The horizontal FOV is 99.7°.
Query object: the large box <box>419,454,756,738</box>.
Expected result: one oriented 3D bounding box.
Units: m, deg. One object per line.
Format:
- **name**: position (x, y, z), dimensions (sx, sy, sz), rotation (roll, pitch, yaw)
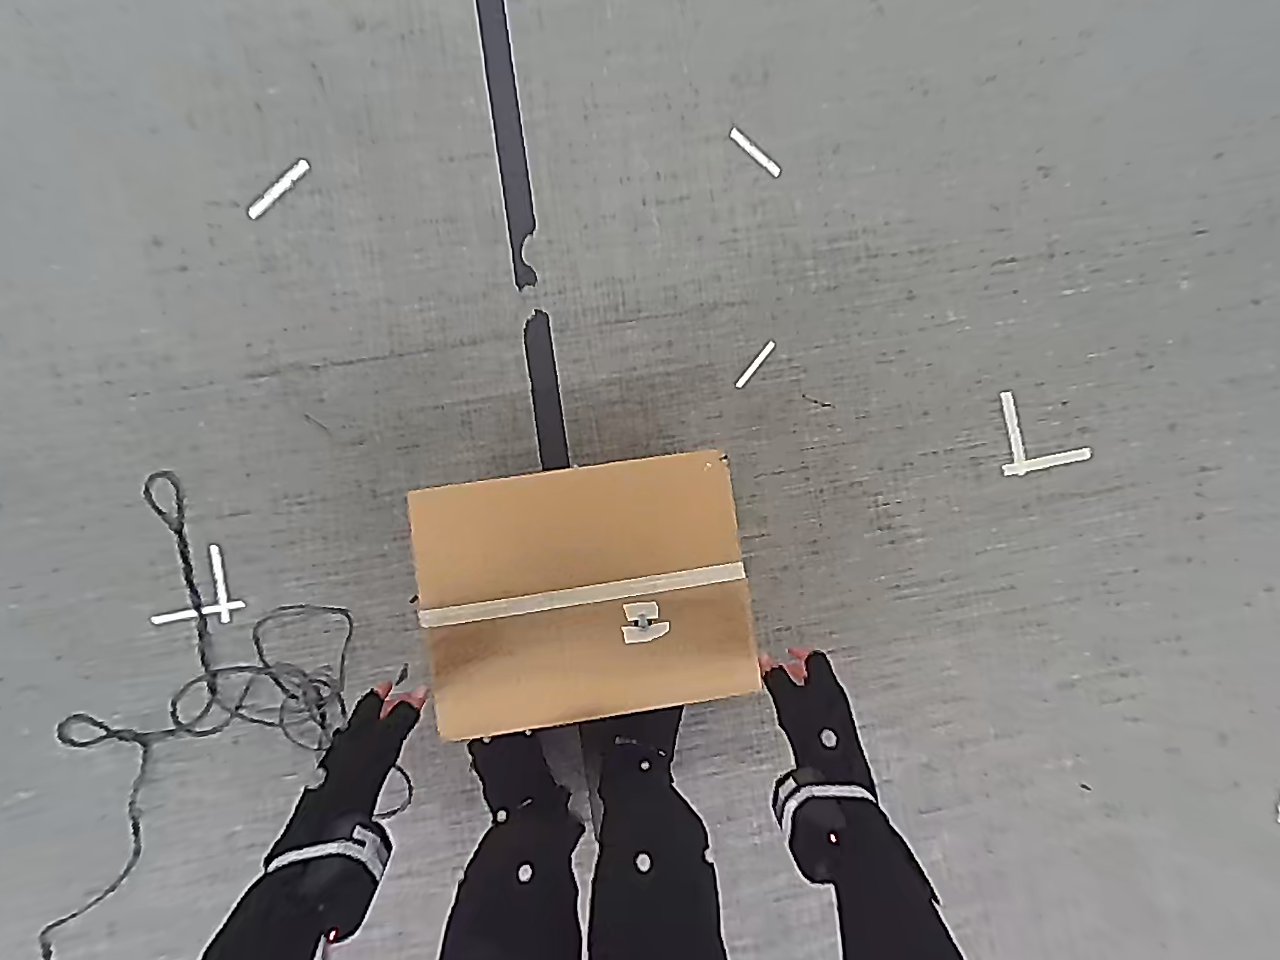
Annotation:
- **large box**: position (-0.075, 0.152, 0.842), dimensions (0.408, 0.320, 0.320), rotation (-8, 89, -4)
